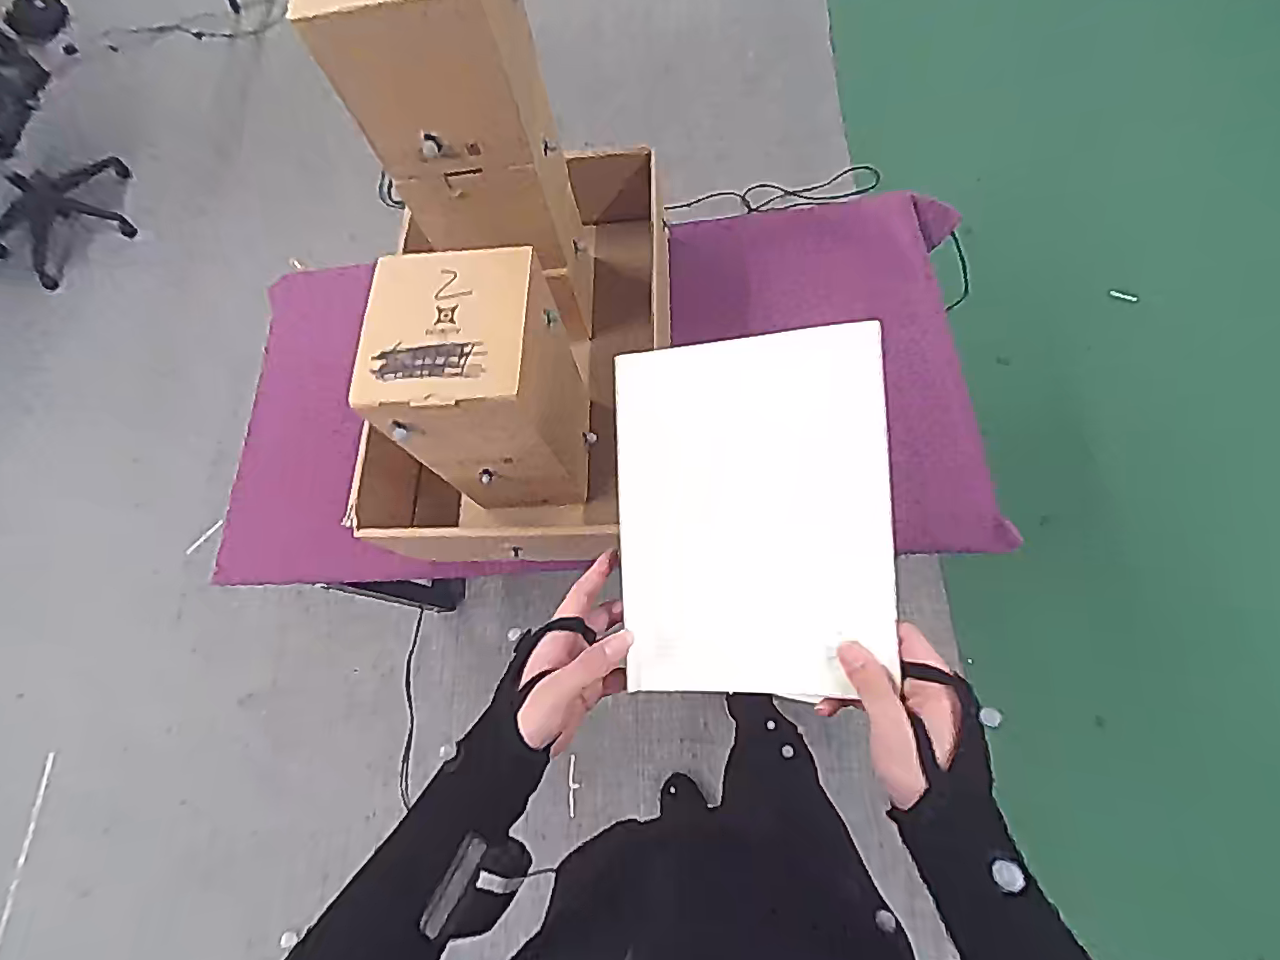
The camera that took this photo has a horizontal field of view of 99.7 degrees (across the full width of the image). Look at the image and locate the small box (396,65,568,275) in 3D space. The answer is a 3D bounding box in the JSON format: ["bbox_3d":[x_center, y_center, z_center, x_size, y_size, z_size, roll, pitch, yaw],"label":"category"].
[{"bbox_3d":[-0.191,-0.389,0.705,0.168,0.176,0.179,-5,70,4],"label":"small box"}]

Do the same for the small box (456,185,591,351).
[{"bbox_3d":[-0.173,-0.329,0.857,0.168,0.176,0.179,-4,72,5],"label":"small box"}]

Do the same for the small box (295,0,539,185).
[{"bbox_3d":[-0.206,-0.441,0.552,0.168,0.176,0.179,-5,72,5],"label":"small box"}]
